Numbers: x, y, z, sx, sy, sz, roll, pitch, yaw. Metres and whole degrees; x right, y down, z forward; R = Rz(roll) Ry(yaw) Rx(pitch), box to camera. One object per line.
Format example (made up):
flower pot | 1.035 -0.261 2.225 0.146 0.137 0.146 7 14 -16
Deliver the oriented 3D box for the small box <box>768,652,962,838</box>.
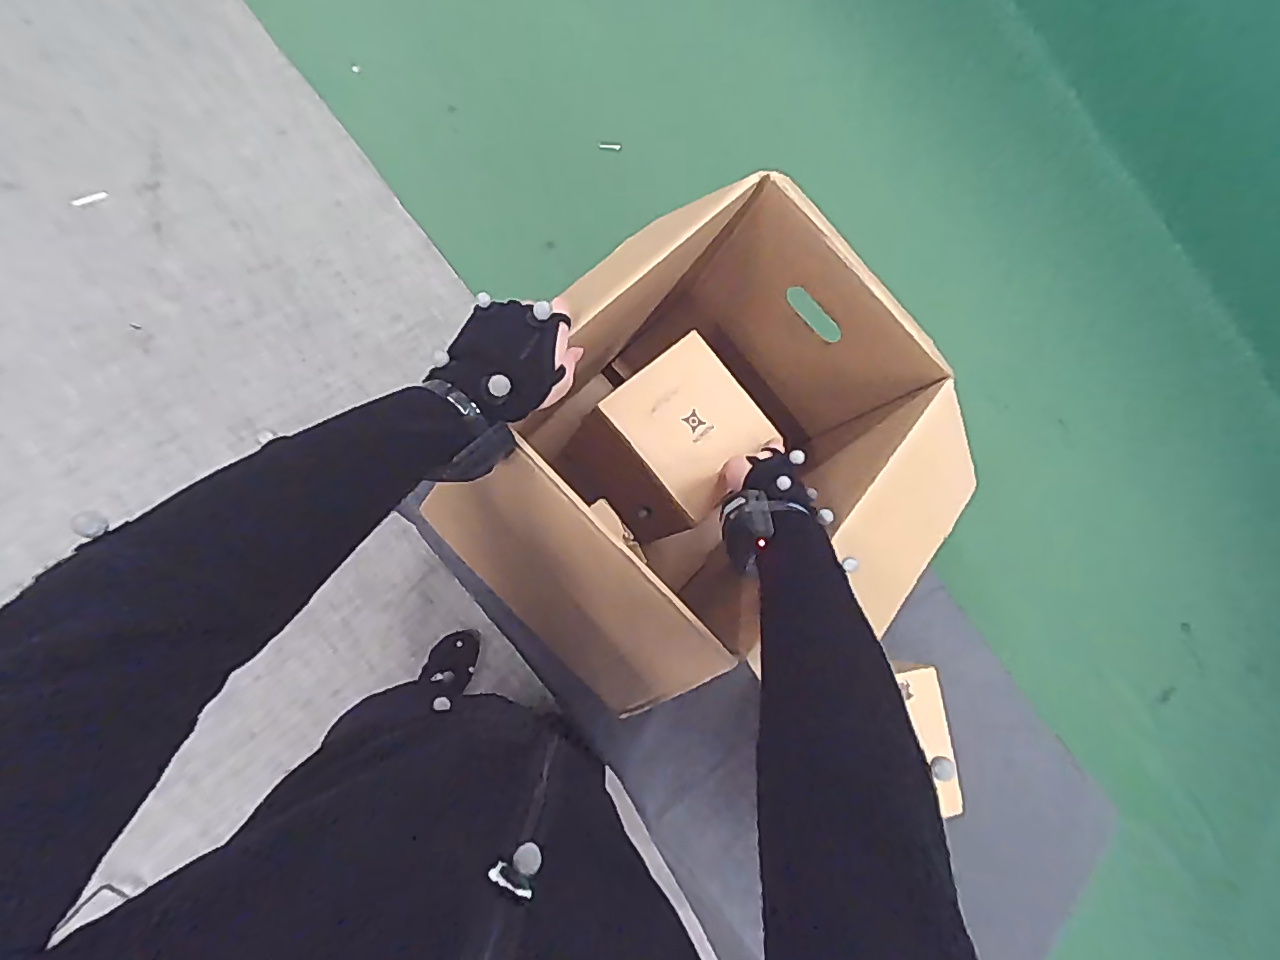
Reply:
small box | 0.290 0.339 0.730 0.168 0.176 0.179 -1 80 -16
